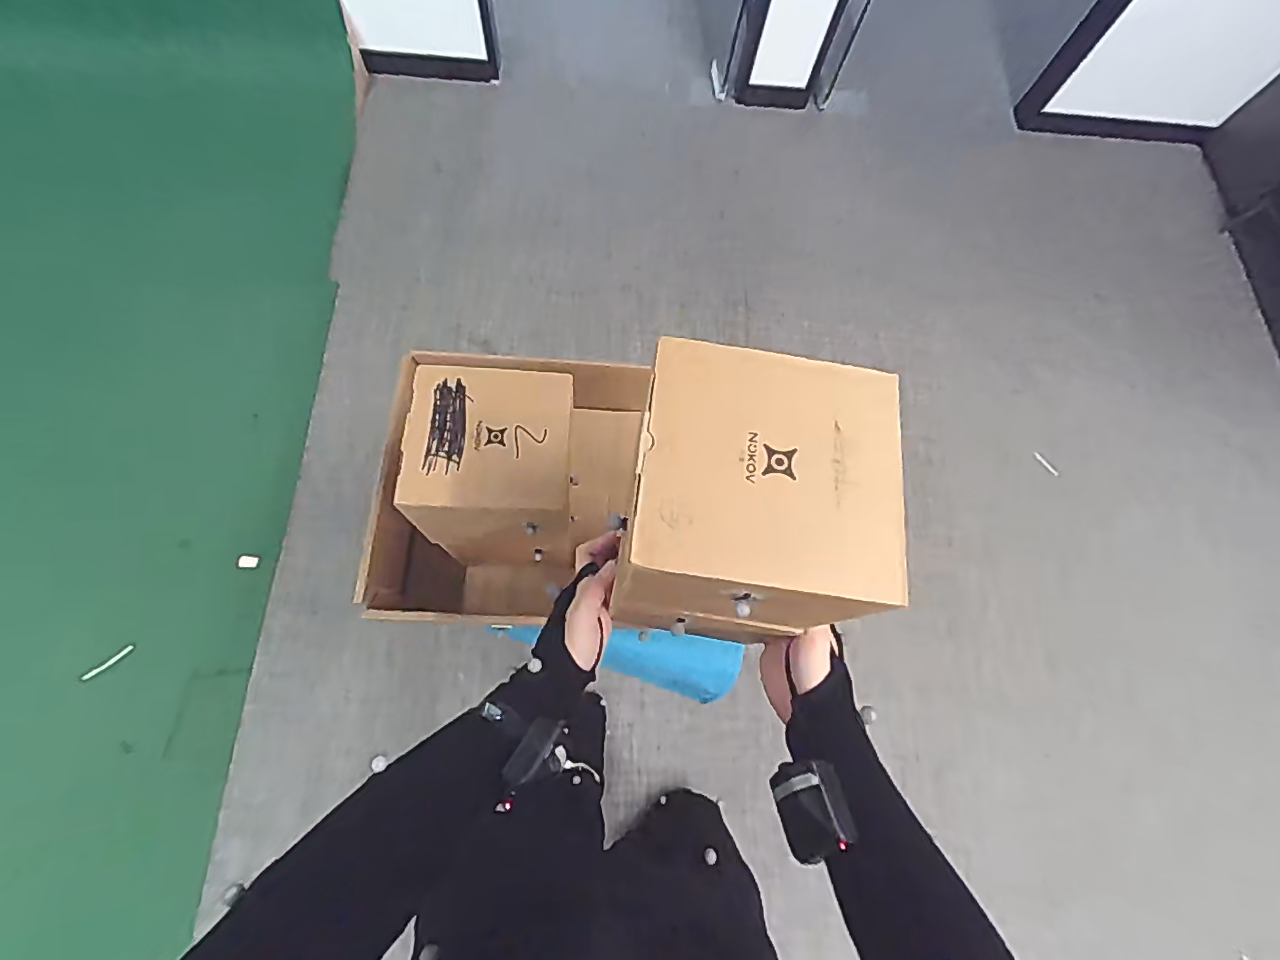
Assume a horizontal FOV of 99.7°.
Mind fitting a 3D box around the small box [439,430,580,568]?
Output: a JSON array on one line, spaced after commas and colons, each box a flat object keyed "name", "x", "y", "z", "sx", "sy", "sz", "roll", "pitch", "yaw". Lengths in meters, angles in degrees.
[{"name": "small box", "x": -0.184, "y": 0.037, "z": 0.818, "sx": 0.179, "sy": 0.176, "sz": 0.168, "roll": 2, "pitch": 70, "yaw": -5}]

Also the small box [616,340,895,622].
[{"name": "small box", "x": 0.077, "y": 0.015, "z": 0.433, "sx": 0.179, "sy": 0.176, "sz": 0.168, "roll": 9, "pitch": 70, "yaw": -1}]
